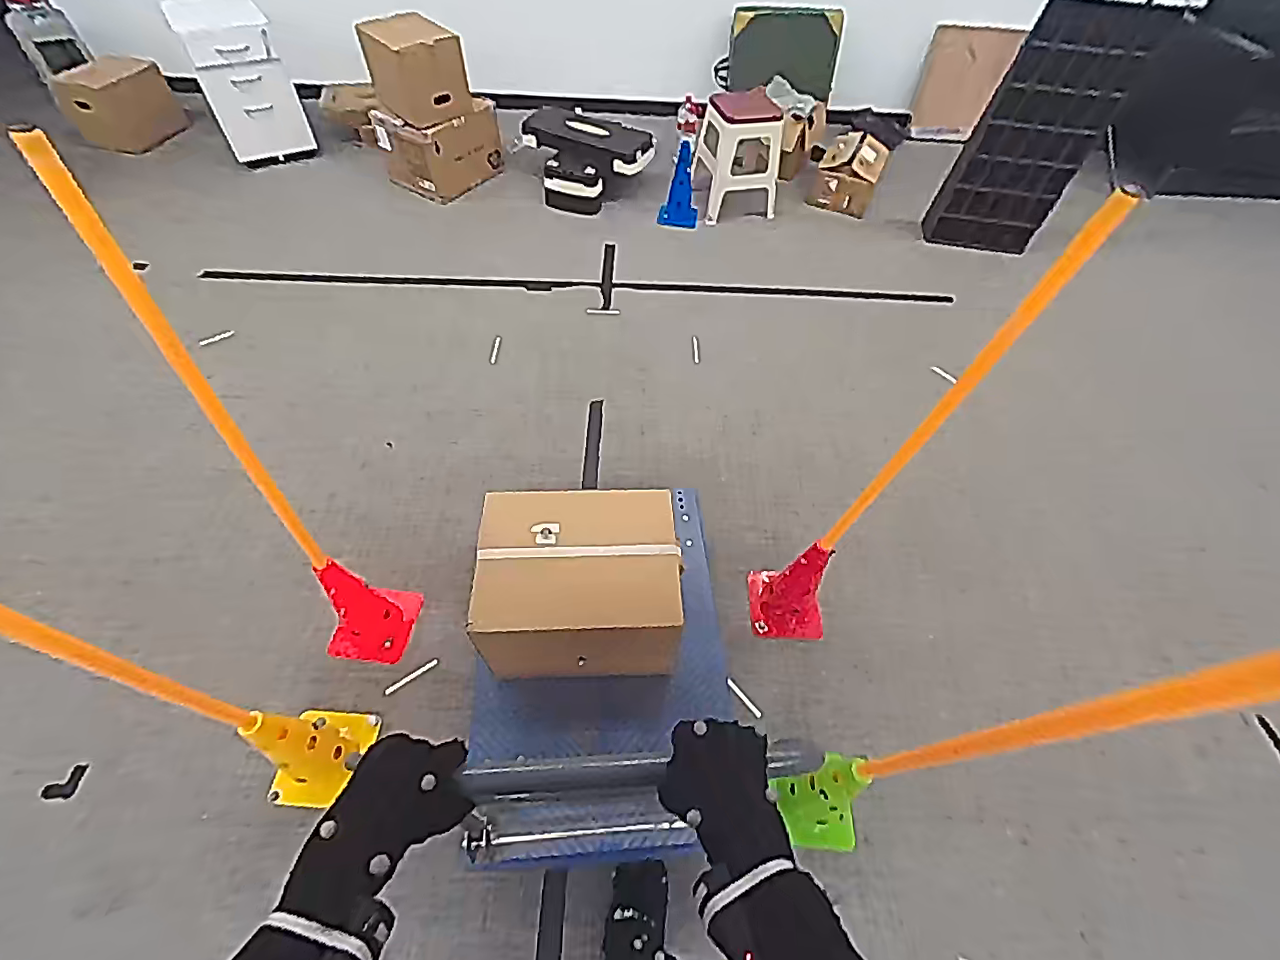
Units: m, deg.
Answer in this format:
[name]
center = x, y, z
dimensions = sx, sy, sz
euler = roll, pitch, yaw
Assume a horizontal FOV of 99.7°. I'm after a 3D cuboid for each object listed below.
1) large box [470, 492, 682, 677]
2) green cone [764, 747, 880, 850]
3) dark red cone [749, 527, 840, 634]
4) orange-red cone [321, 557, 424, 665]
[large box]
center = -0.128, 0.244, 1.220
dimensions = 0.408, 0.320, 0.320
euler = -1, 54, -2
[green cone]
center = 0.405, 0.642, 1.132
dimensions = 0.202, 0.368, 0.200
euler = 6, 53, 0
[dark red cone]
center = 0.430, 0.243, 1.408
dimensions = 0.201, 0.394, 0.202
euler = 3, 54, -3
[orange-red cone]
center = -0.701, 0.290, 1.338
dimensions = 0.198, 0.360, 0.199
euler = 8, 52, 2
